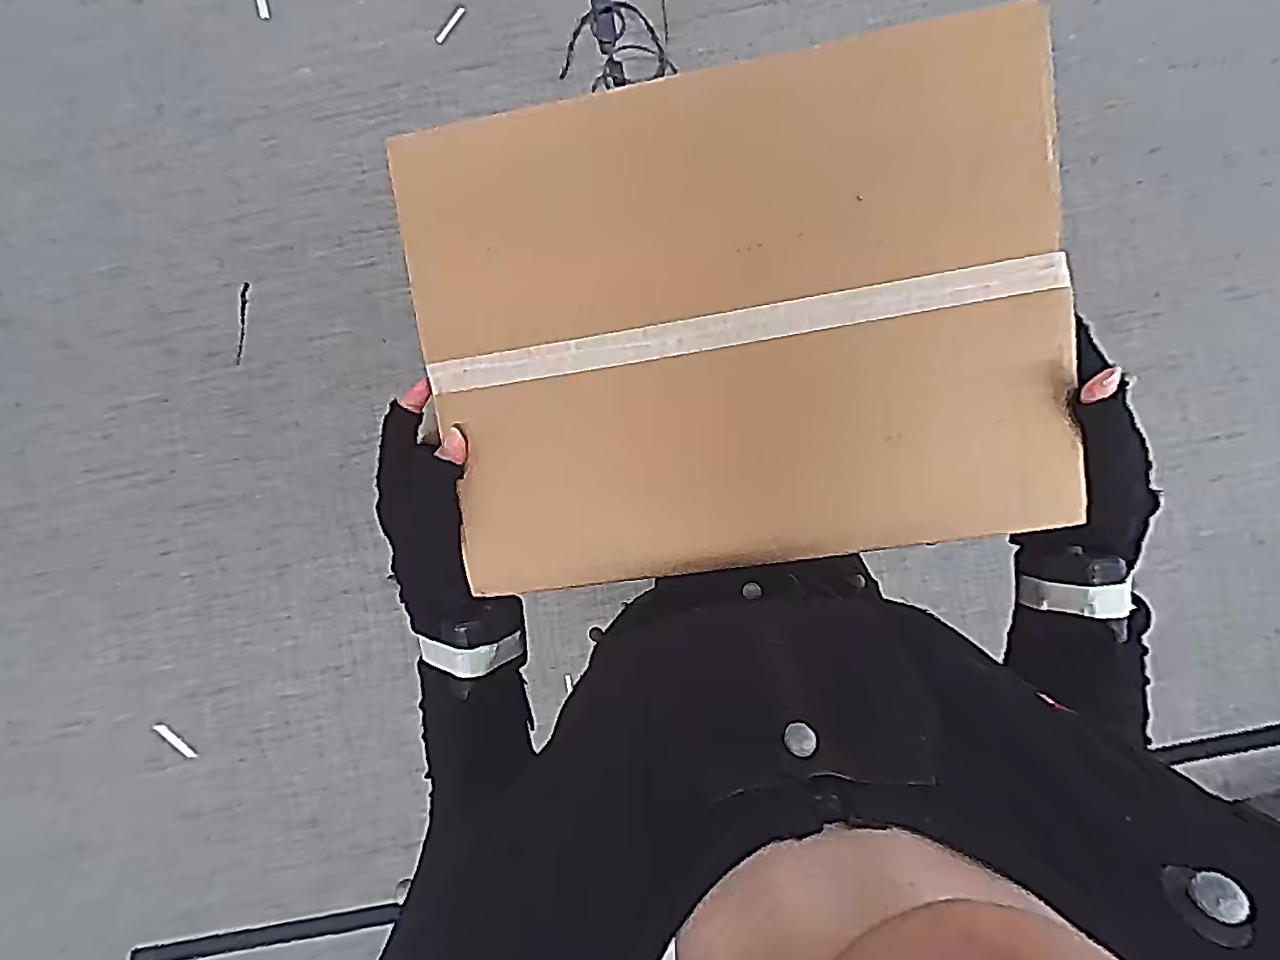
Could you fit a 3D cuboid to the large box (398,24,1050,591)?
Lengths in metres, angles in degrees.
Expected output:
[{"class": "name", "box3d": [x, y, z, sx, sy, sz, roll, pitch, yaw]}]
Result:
[{"class": "large box", "box3d": [0.066, -0.115, 0.508, 0.408, 0.320, 0.320, -8, 95, 6]}]
